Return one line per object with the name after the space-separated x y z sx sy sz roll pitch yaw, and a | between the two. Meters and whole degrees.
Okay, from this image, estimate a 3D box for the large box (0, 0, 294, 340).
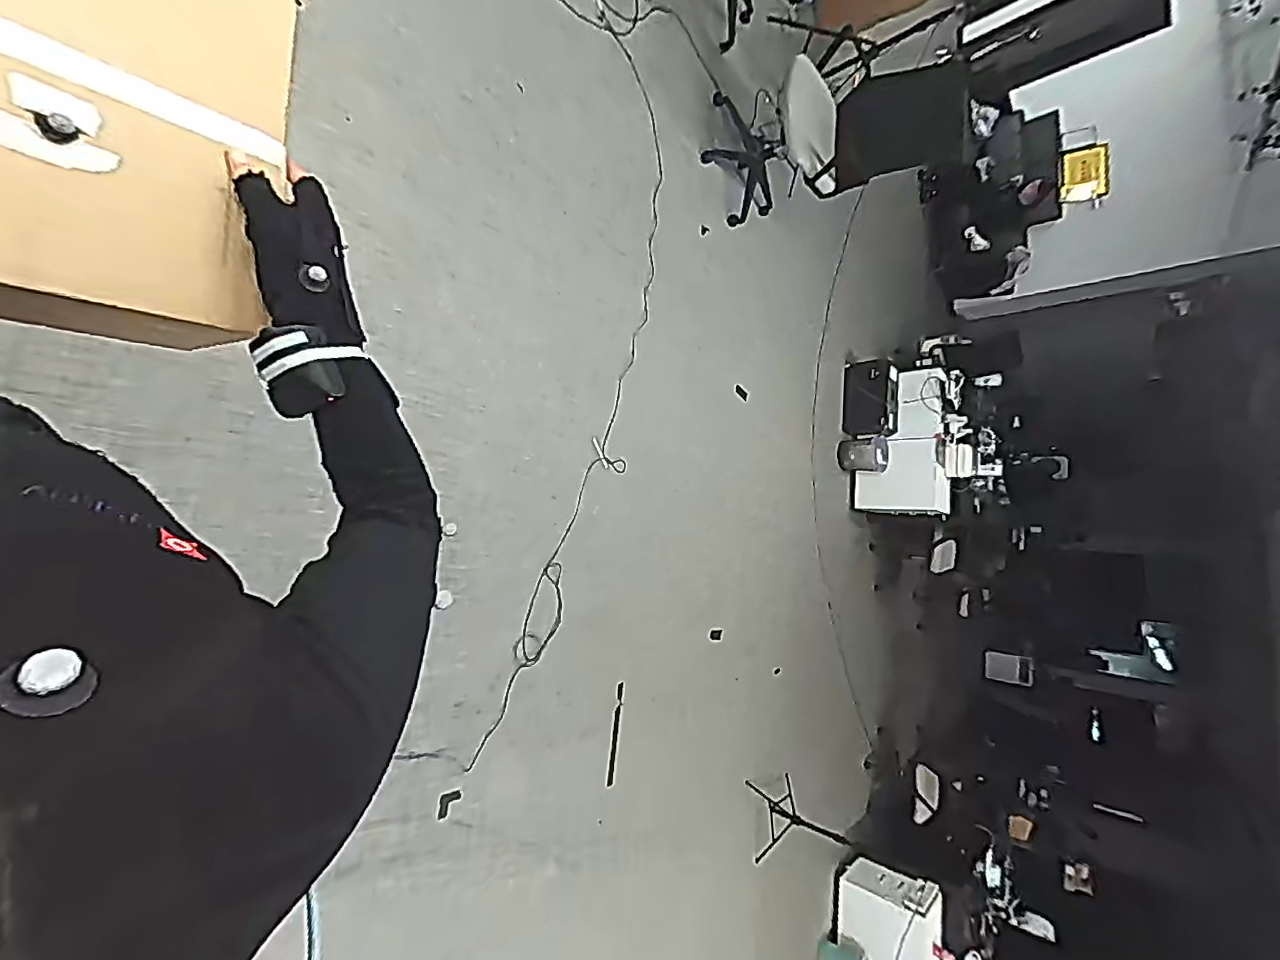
-0.559 -0.309 0.422 0.408 0.320 0.320 2 96 -52 | large box
